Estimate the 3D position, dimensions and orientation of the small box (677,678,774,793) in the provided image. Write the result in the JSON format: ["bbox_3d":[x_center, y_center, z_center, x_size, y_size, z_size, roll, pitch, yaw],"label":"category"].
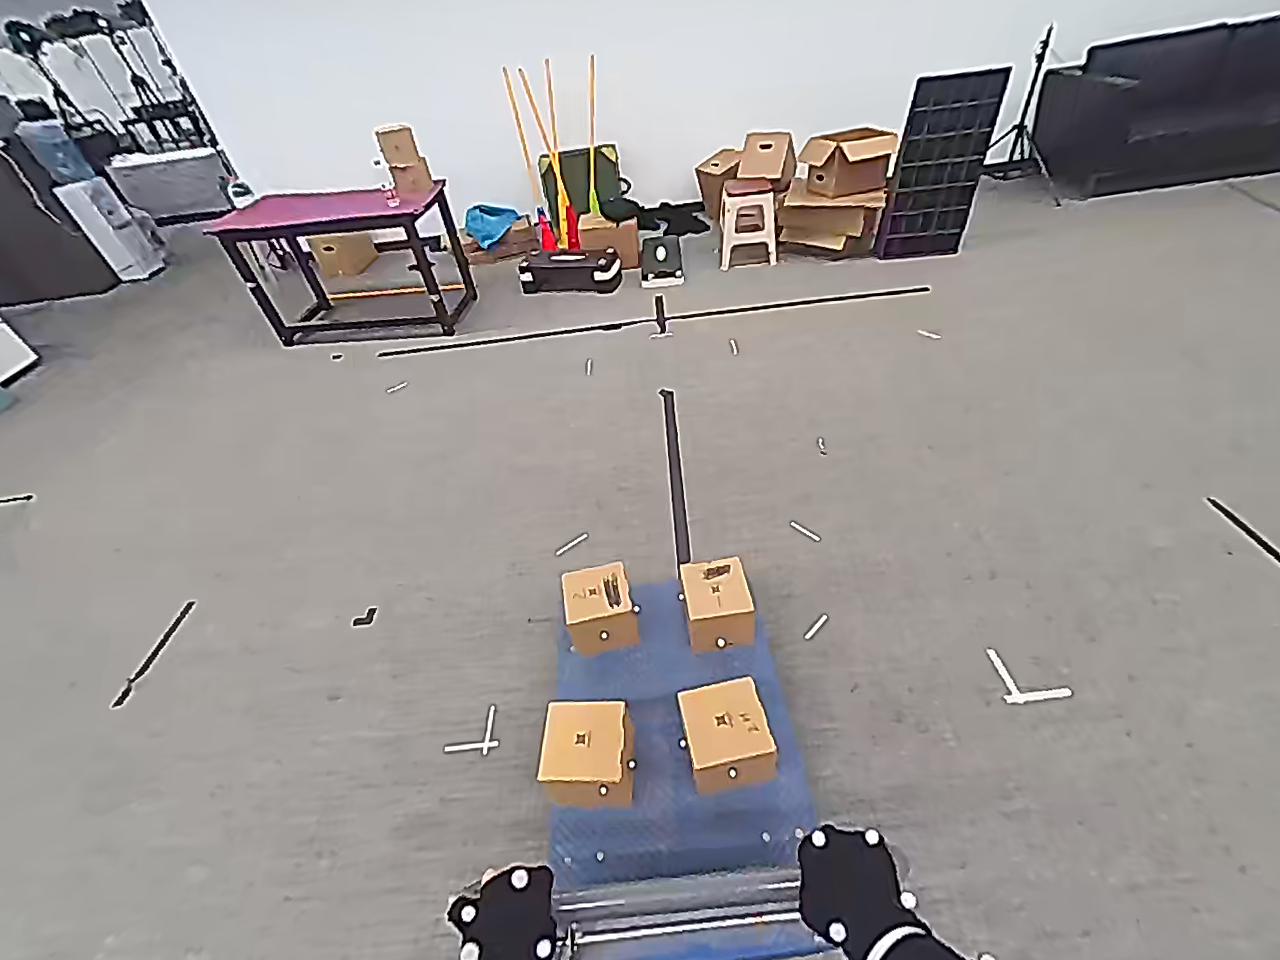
[{"bbox_3d":[0.190,0.578,1.217,0.179,0.176,0.168,-11,43,-3],"label":"small box"}]

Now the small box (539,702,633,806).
[{"bbox_3d":[-0.114,0.621,1.223,0.179,0.176,0.168,-3,42,4],"label":"small box"}]

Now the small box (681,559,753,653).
[{"bbox_3d":[0.204,0.342,1.469,0.168,0.176,0.179,-9,43,0],"label":"small box"}]
